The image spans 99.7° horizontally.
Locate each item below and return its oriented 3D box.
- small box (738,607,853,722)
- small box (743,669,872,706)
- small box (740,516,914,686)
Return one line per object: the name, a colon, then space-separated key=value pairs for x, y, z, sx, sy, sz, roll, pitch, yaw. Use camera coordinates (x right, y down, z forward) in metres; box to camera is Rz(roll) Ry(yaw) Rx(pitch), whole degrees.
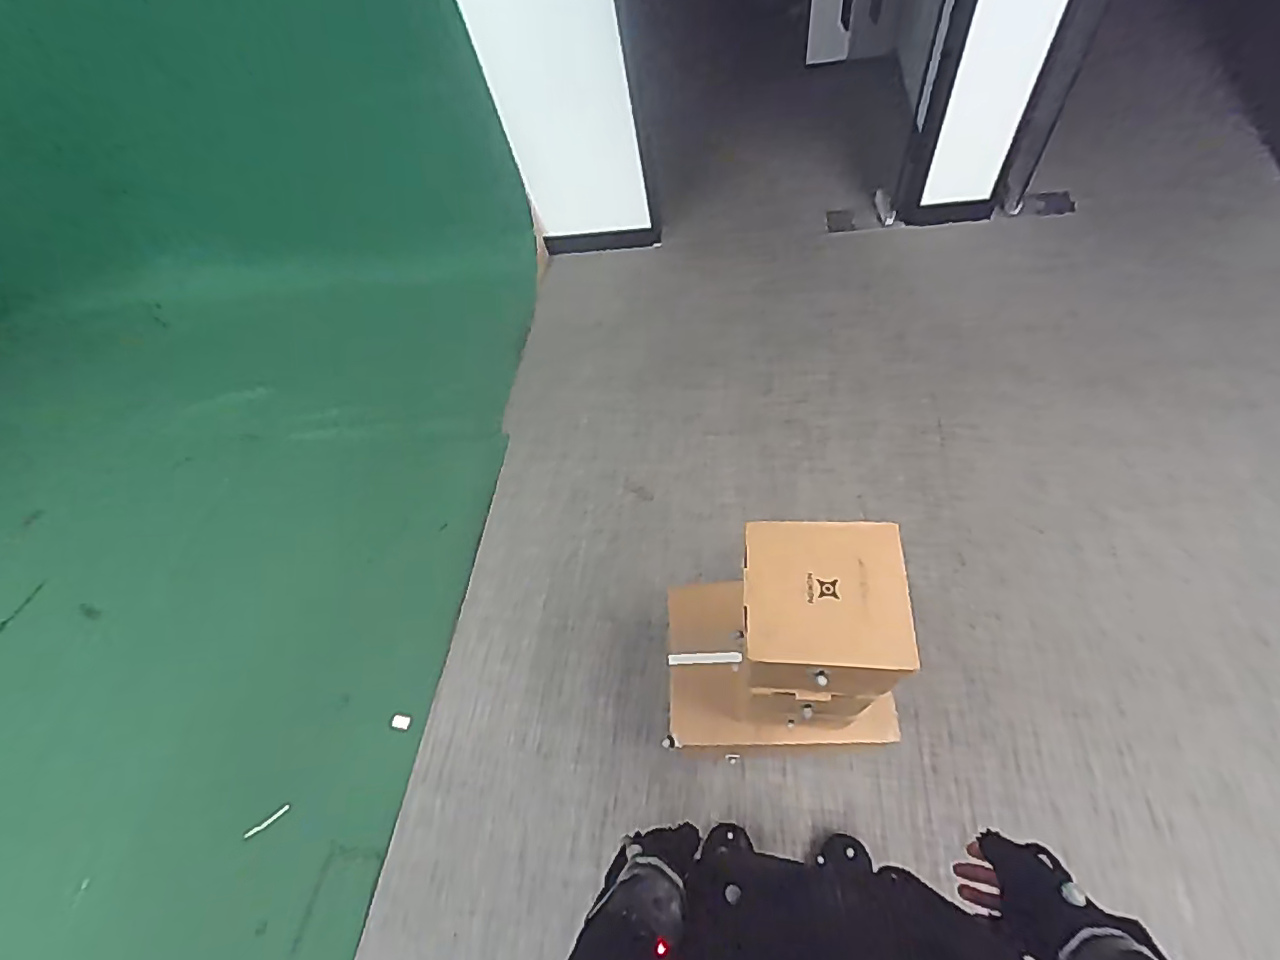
small box: x=0.262 y=0.323 z=0.945 sx=0.179 sy=0.176 sz=0.168 roll=0 pitch=61 yaw=12
small box: x=0.238 y=0.236 z=0.809 sx=0.168 sy=0.176 sz=0.179 roll=-1 pitch=61 yaw=10
small box: x=0.214 y=0.154 z=0.670 sx=0.179 sy=0.176 sz=0.168 roll=0 pitch=62 yaw=10
